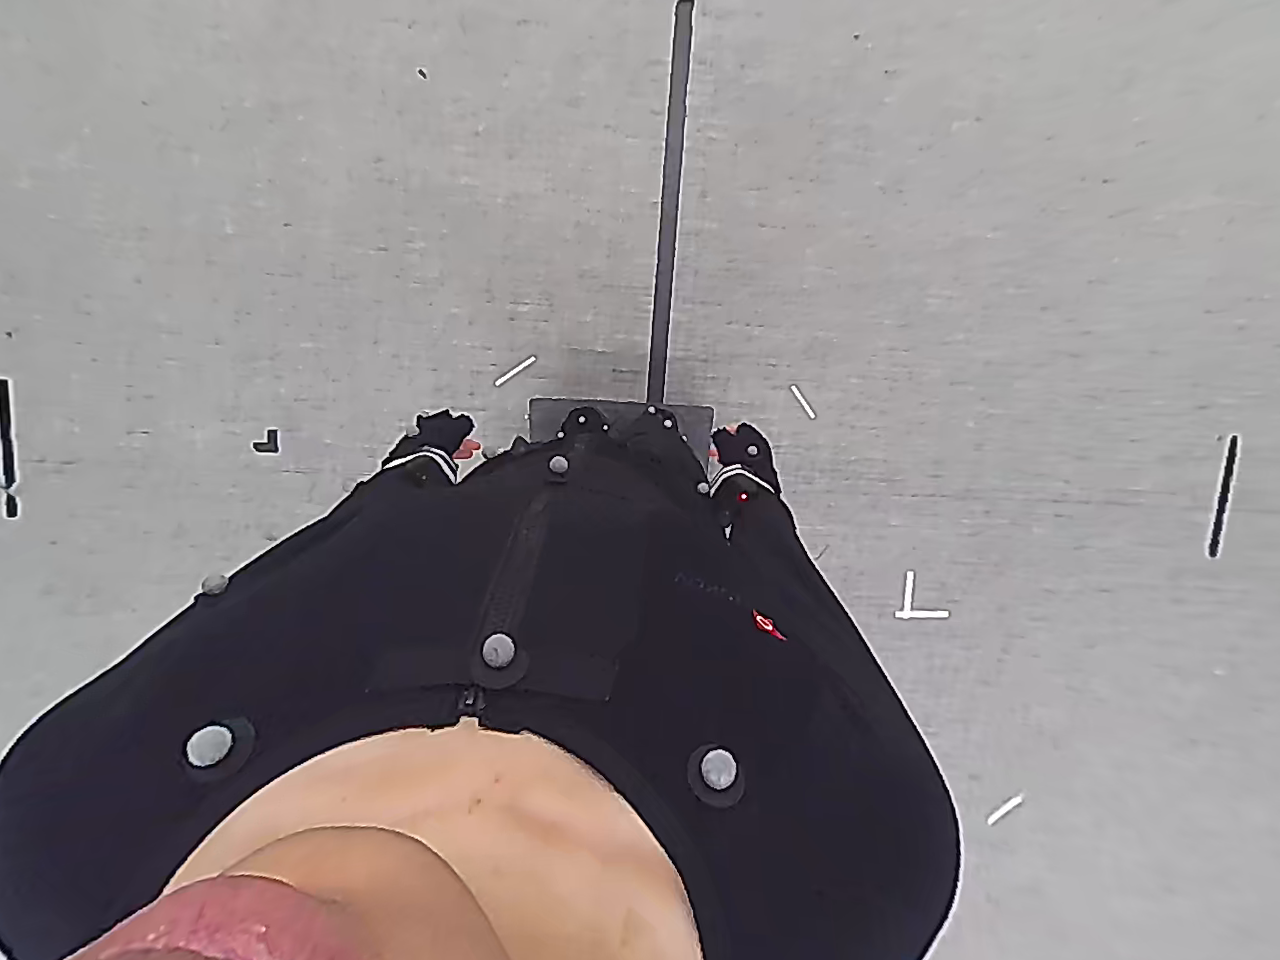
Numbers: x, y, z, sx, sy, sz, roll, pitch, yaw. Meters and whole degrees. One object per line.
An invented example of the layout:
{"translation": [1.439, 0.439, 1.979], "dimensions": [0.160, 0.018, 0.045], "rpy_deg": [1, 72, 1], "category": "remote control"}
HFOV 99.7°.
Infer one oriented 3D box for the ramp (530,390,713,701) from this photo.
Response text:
{"translation": [-0.070, 0.241, 1.586], "dimensions": [0.509, 0.206, 0.991], "rpy_deg": [1, 99, -3], "category": "ramp"}
